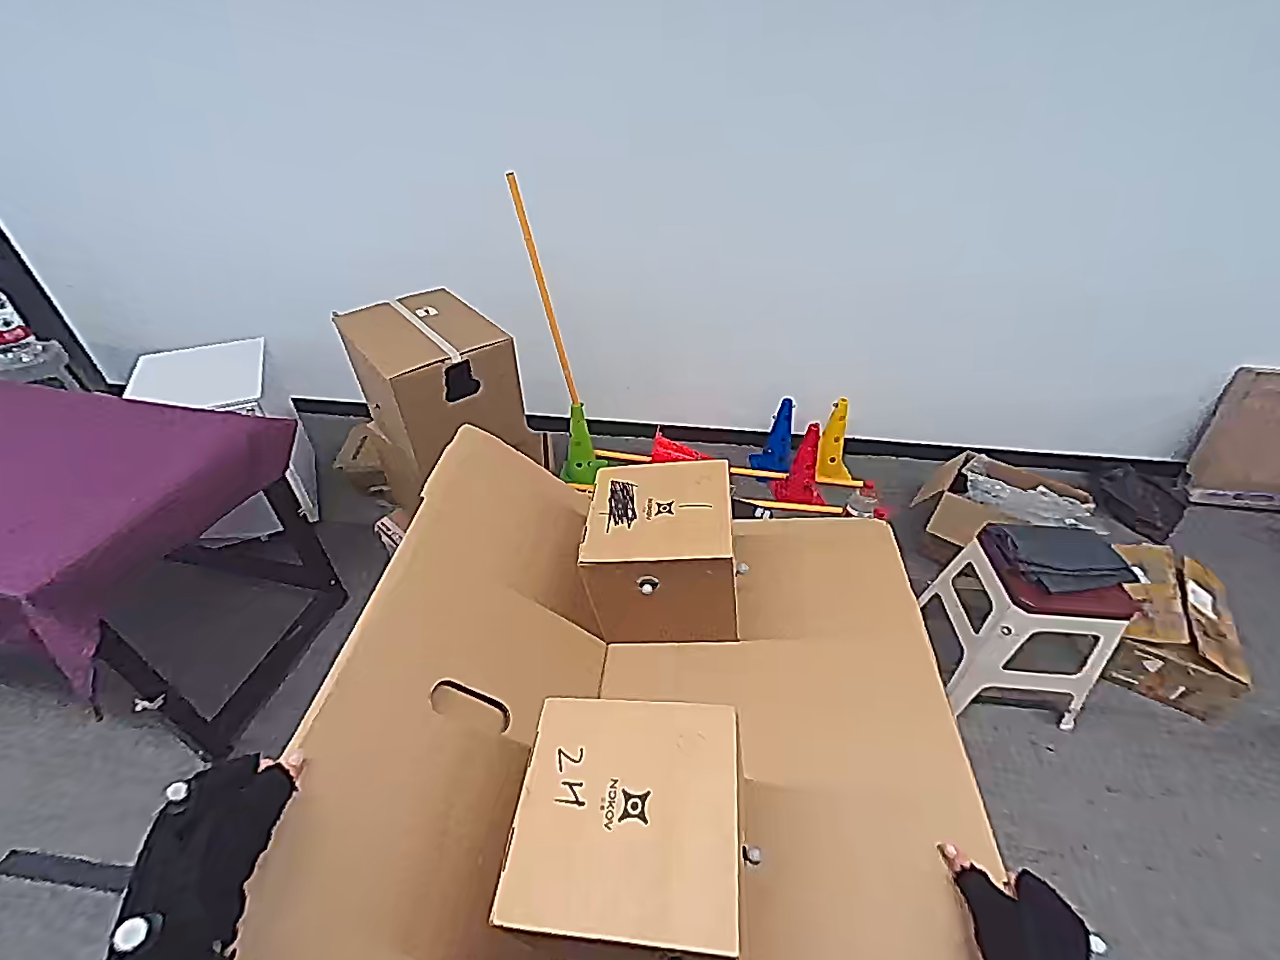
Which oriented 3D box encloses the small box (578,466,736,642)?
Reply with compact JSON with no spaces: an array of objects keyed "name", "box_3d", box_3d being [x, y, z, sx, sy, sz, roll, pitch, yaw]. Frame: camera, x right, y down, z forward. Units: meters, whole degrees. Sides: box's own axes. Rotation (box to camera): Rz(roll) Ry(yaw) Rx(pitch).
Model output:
[{"name":"small box","box_3d":[0.033,0.101,0.716,0.179,0.176,0.168,-3,42,10]}]
